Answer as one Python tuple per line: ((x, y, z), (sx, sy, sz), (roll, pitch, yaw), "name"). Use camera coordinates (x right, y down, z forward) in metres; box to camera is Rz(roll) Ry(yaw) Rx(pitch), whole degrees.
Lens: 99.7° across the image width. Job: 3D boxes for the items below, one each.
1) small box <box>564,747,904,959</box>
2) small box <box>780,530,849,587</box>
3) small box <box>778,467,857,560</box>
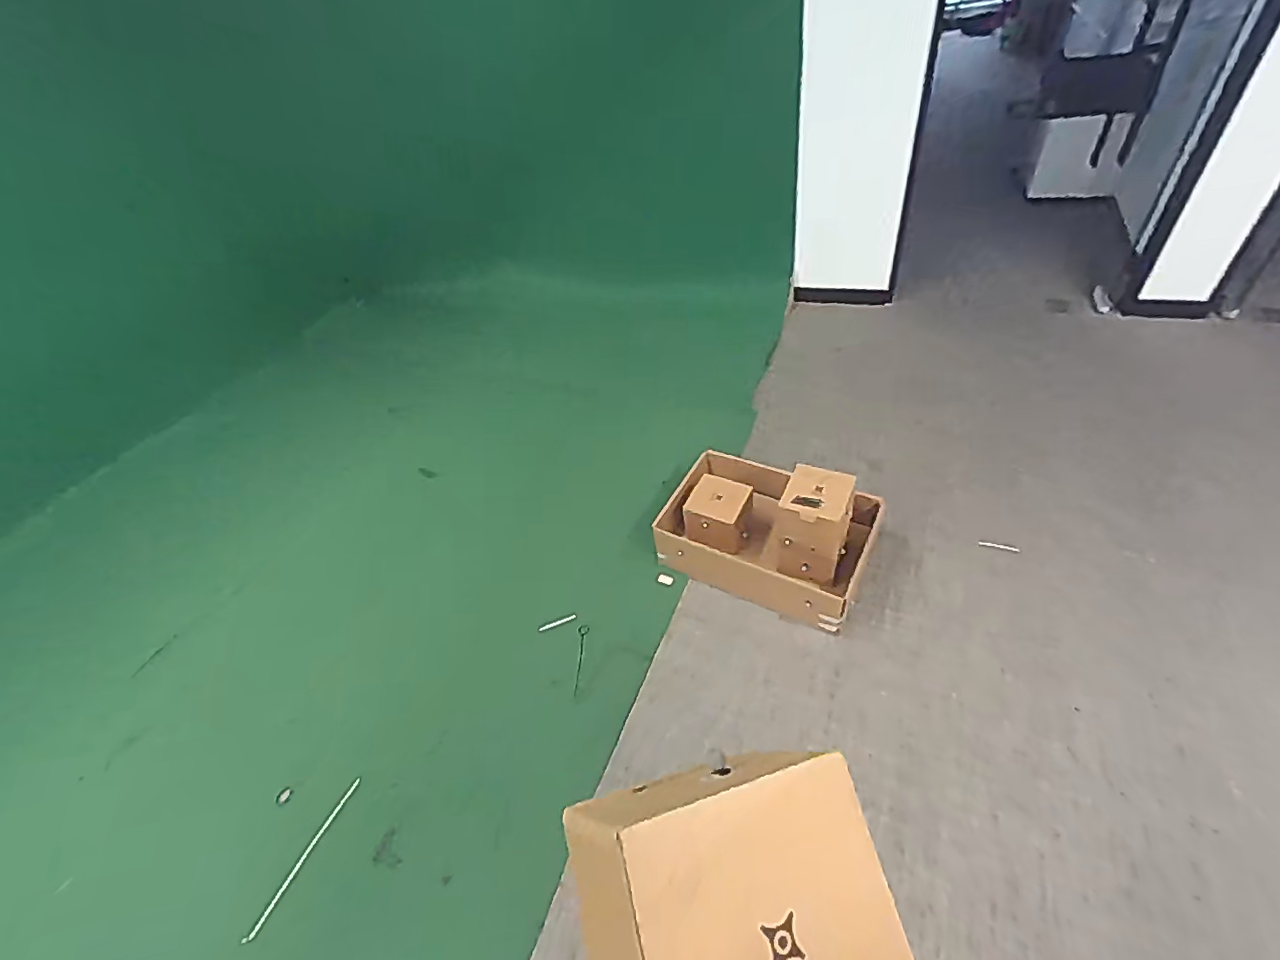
((0.052, 0.302, 0.379), (0.168, 0.176, 0.179), (-5, 68, -22), "small box")
((0.530, 0.197, 1.633), (0.168, 0.176, 0.179), (14, 52, 25), "small box")
((0.495, 0.094, 1.509), (0.168, 0.176, 0.179), (15, 51, 27), "small box")
